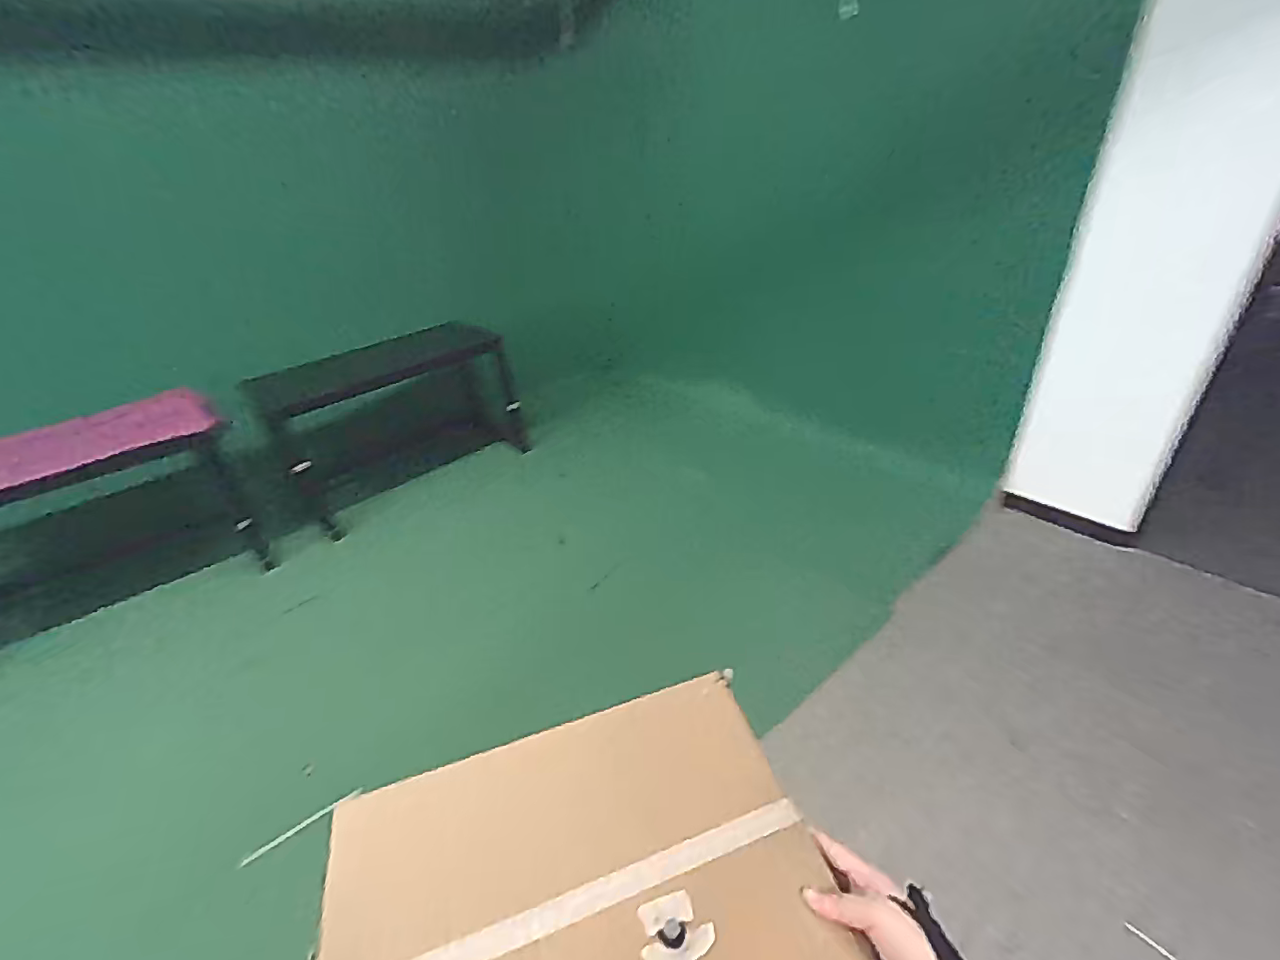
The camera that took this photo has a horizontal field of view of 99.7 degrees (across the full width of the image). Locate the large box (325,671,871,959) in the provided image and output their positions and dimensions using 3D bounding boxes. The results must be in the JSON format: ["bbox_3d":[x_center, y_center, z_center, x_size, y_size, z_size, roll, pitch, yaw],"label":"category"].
[{"bbox_3d":[-0.048,0.467,0.540,0.408,0.320,0.320,-14,38,-15],"label":"large box"}]
